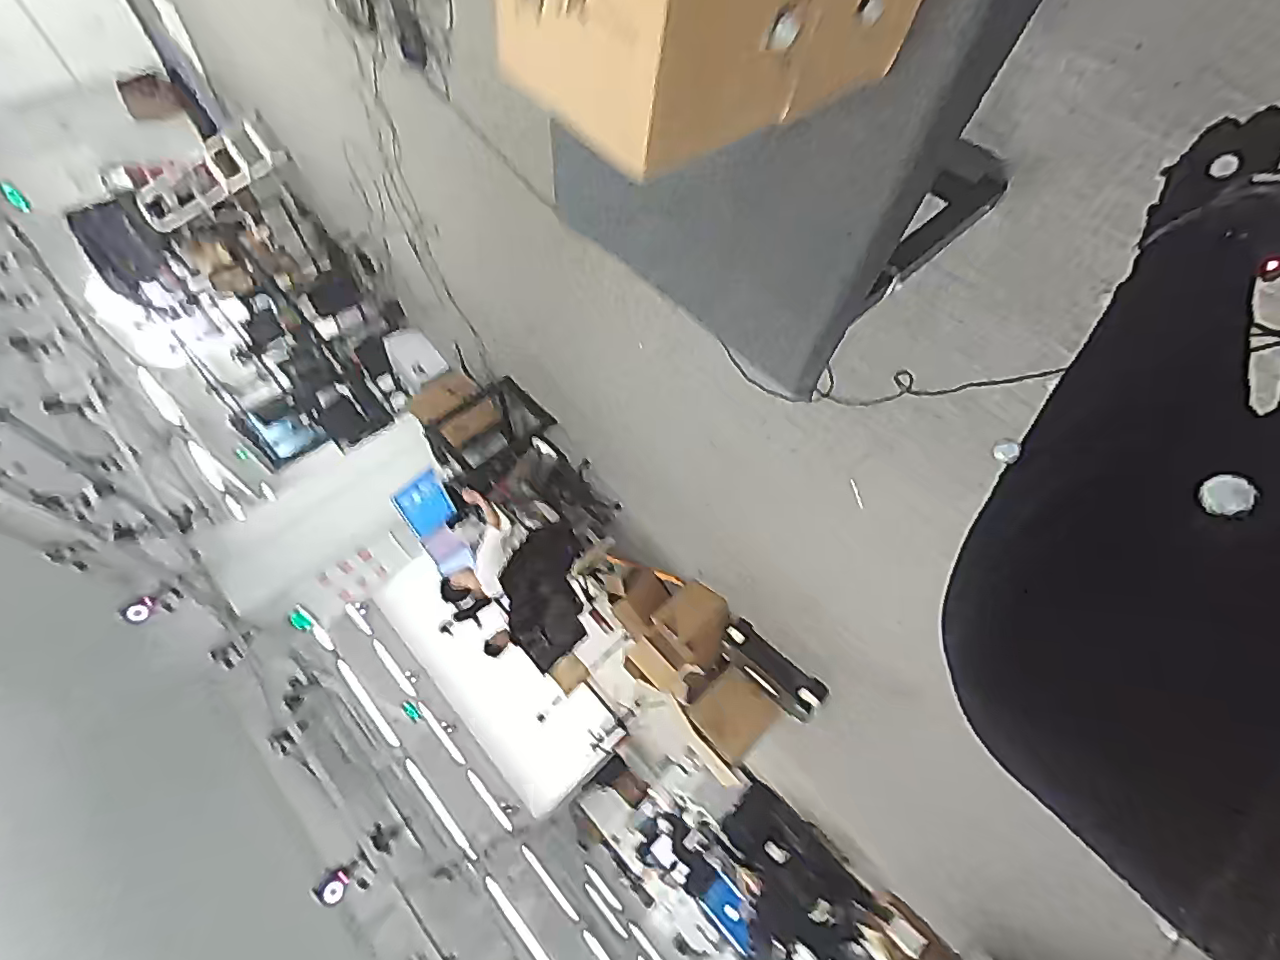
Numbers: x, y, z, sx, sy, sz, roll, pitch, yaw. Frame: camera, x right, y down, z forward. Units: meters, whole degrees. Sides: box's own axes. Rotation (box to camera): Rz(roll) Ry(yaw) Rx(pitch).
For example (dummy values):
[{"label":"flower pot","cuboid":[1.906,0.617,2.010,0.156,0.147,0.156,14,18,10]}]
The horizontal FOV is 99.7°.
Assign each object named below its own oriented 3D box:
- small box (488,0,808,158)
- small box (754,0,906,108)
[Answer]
[{"label":"small box","cuboid":[0.010,-0.374,0.379,0.179,0.176,0.168,46,155,13]},{"label":"small box","cuboid":[0.133,-0.461,0.445,0.168,0.176,0.179,46,156,15]}]
